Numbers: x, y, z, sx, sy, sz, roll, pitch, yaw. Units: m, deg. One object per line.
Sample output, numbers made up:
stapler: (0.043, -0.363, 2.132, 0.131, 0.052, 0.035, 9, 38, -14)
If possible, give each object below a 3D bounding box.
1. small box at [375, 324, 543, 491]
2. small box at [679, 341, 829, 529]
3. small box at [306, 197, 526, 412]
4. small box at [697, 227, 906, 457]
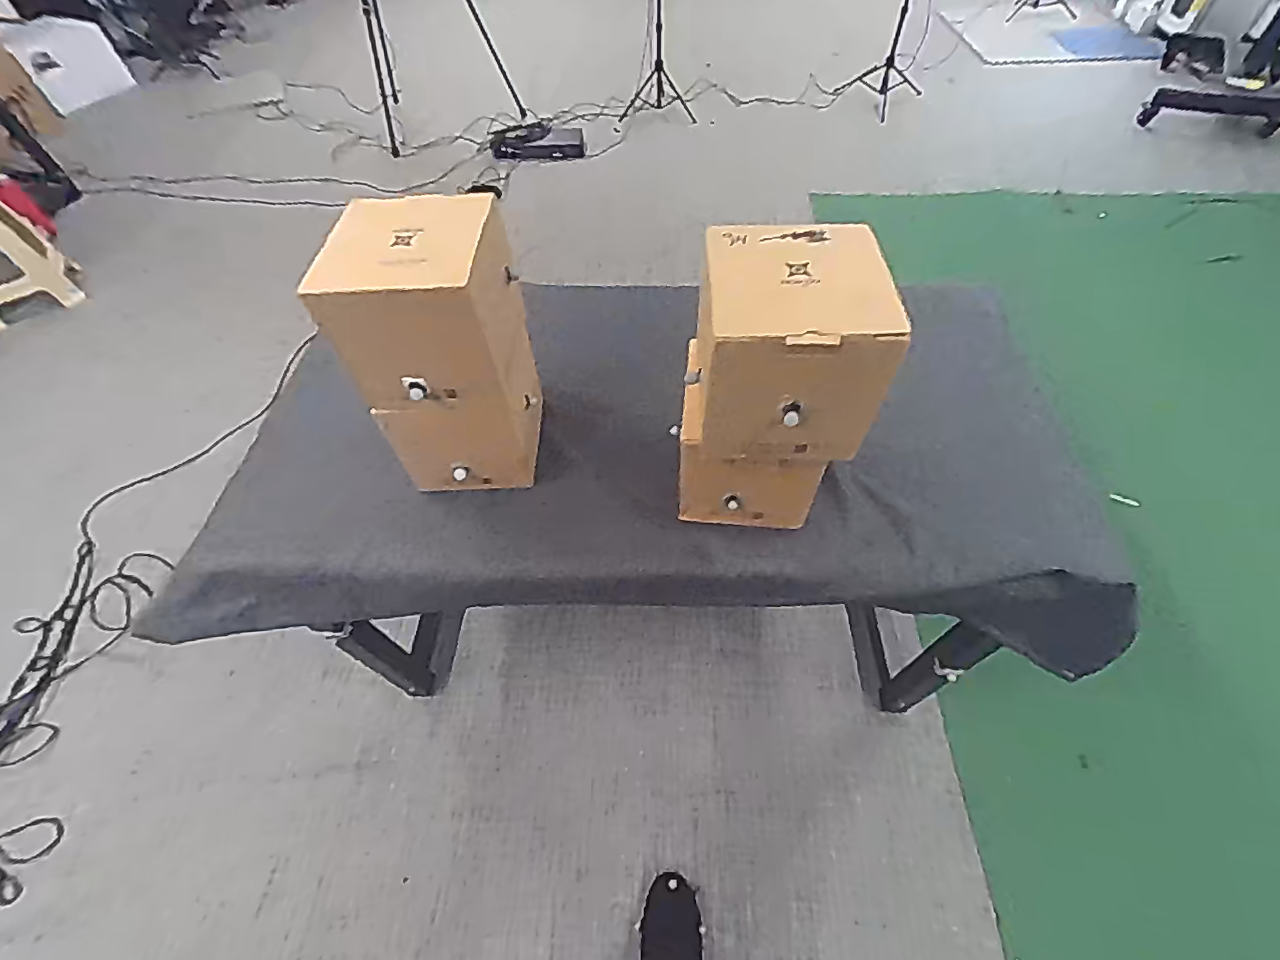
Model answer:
small box: (-0.235, -0.102, 0.755, 0.168, 0.176, 0.179, -2, 54, 1)
small box: (0.140, -0.058, 0.711, 0.168, 0.176, 0.179, 4, 54, 5)
small box: (-0.234, -0.198, 0.623, 0.168, 0.176, 0.179, -2, 55, 2)
small box: (0.148, -0.138, 0.567, 0.168, 0.176, 0.179, 1, 55, 2)
